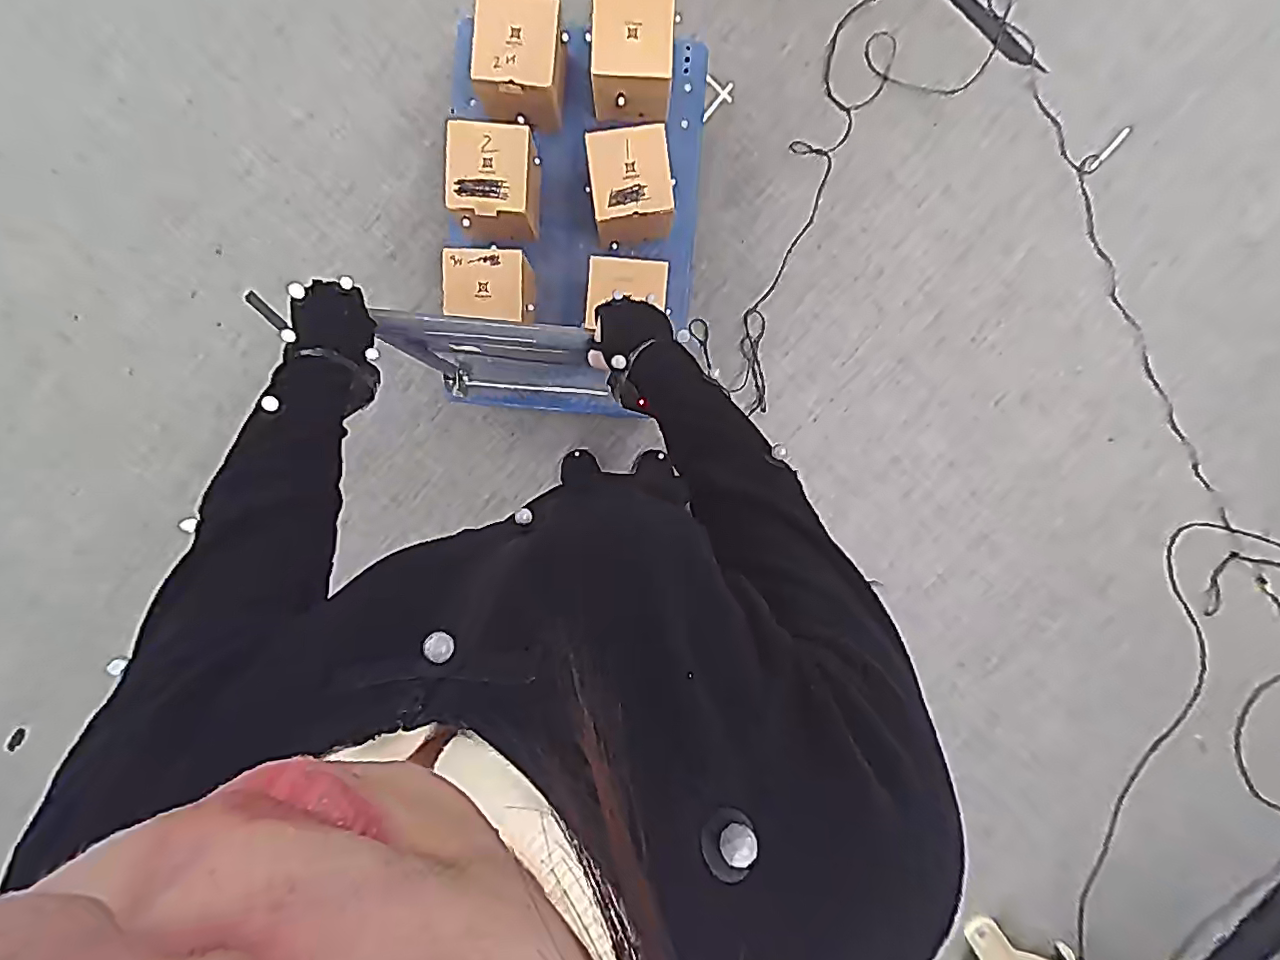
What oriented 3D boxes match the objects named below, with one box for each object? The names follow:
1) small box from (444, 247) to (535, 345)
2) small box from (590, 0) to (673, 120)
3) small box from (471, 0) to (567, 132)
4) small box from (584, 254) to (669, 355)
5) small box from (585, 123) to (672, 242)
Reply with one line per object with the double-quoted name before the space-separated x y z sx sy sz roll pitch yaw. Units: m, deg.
"small box" -0.327 -0.400 1.202 0.168 0.176 0.179 1 95 -2
"small box" -0.018 -0.912 1.166 0.168 0.176 0.179 1 95 -1
"small box" -0.252 -0.893 1.160 0.168 0.176 0.179 6 96 -2
"small box" -0.030 -0.384 1.211 0.168 0.176 0.179 5 94 -2
"small box" -0.023 -0.640 1.188 0.168 0.176 0.179 -7 94 -1
